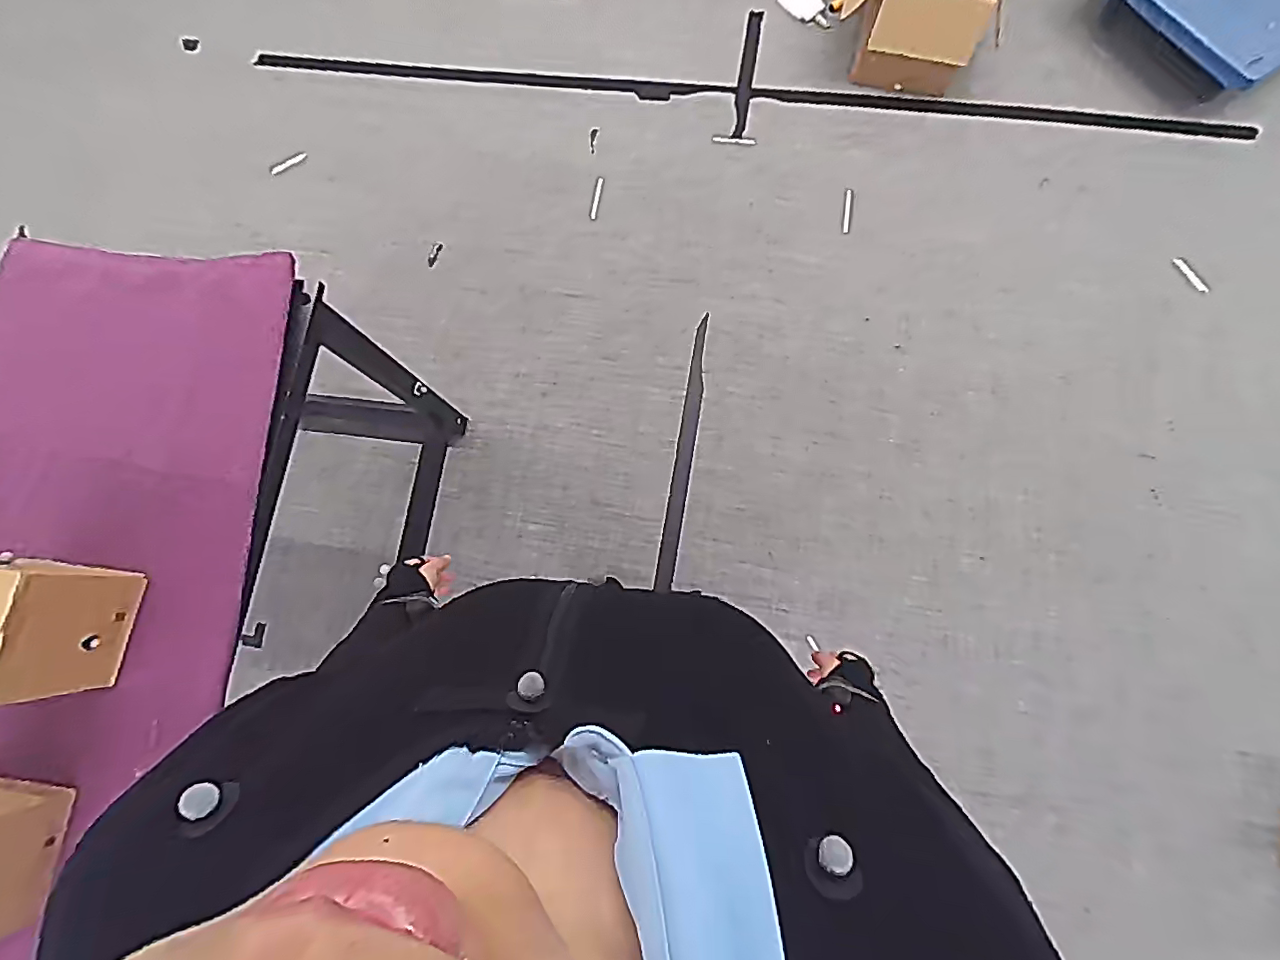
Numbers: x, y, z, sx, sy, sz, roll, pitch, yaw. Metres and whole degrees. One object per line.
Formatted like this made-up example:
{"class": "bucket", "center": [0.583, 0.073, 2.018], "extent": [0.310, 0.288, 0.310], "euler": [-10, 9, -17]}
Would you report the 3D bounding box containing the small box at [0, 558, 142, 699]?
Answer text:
{"class": "small box", "center": [-0.861, 0.198, 0.742], "extent": [0.179, 0.176, 0.168], "euler": [7, 79, 4]}
